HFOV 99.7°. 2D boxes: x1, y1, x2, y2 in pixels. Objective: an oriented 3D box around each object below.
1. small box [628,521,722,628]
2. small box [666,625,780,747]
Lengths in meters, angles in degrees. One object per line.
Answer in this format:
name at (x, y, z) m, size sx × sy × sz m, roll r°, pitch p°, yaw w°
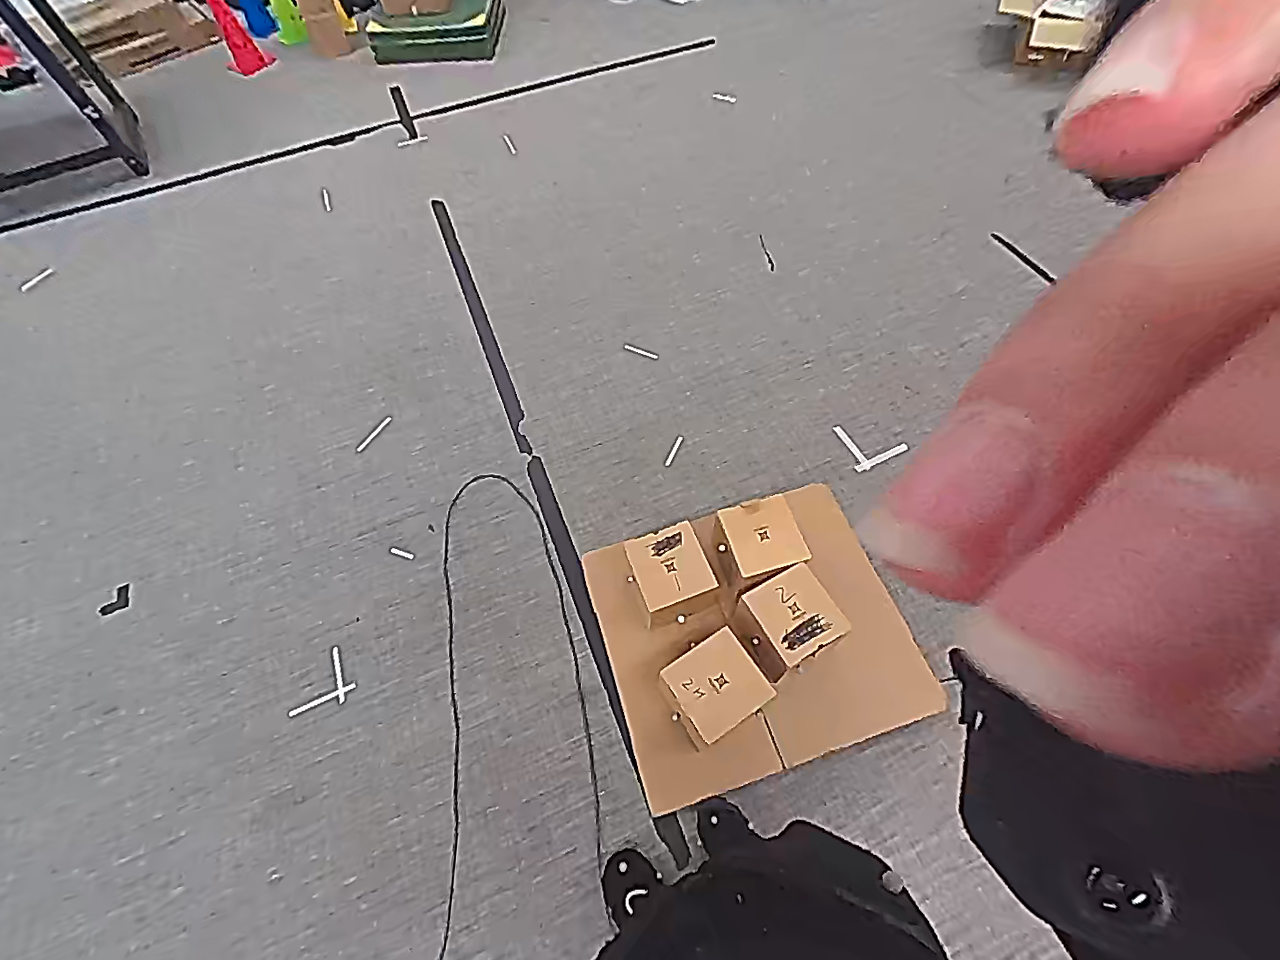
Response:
small box at (0.077, 0.228, 1.286) m, size 0.168 × 0.176 × 0.179 m, roll -19°, pitch 62°, yaw -8°
small box at (0.167, 0.444, 1.157) m, size 0.179 × 0.176 × 0.168 m, roll -30°, pitch 62°, yaw -14°
